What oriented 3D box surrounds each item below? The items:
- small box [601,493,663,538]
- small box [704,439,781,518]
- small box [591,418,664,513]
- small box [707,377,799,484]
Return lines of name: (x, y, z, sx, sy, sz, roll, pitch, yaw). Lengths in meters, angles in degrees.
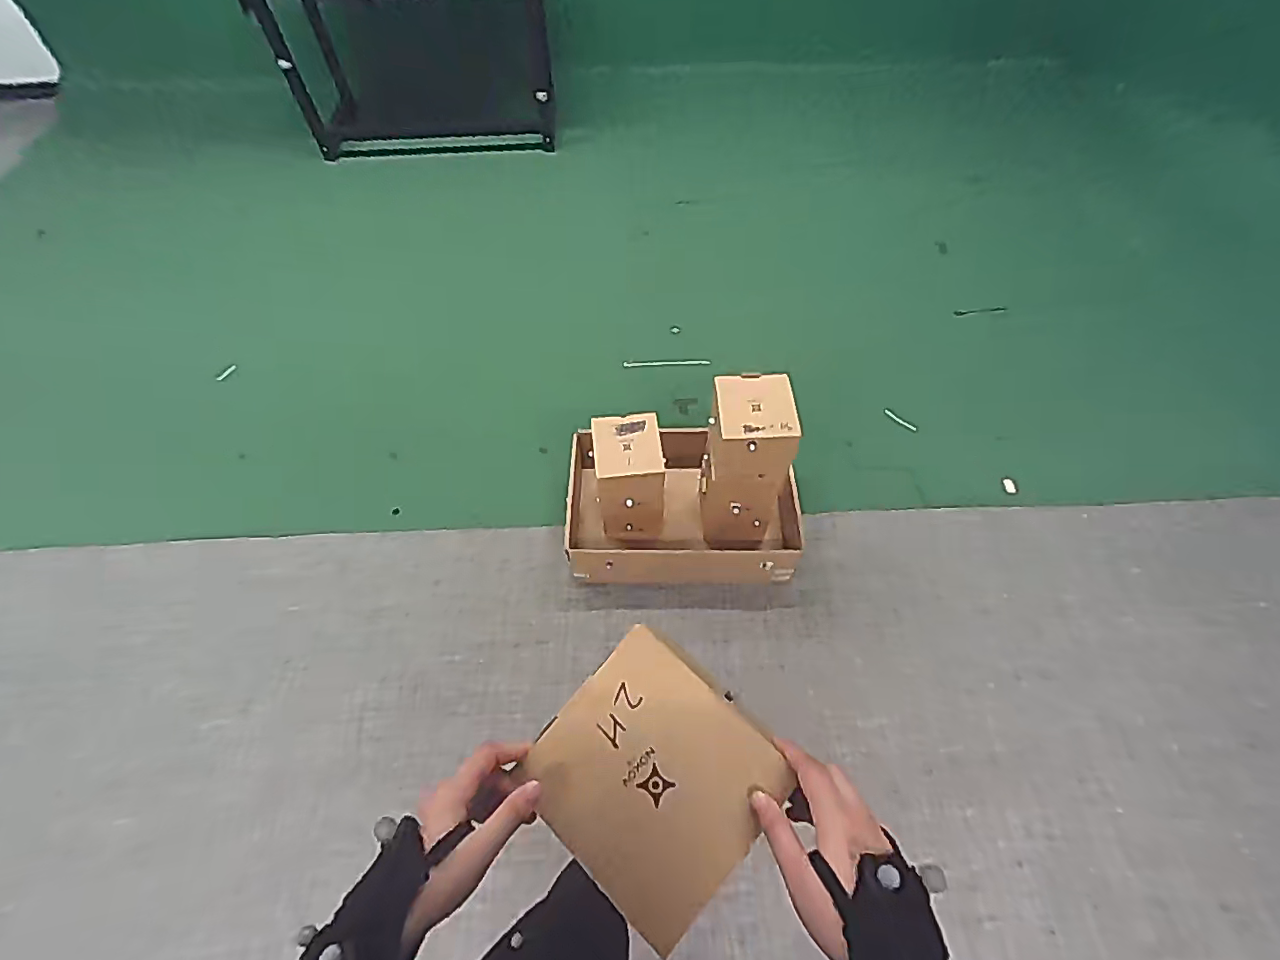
small box: (-0.029, 0.044, 1.513, 0.168, 0.176, 0.179, -4, 58, -3)
small box: (0.249, -0.022, 1.357, 0.168, 0.176, 0.179, 0, 59, 2)
small box: (-0.036, -0.035, 1.368, 0.168, 0.176, 0.179, -6, 59, -4)
small box: (0.245, -0.110, 1.218, 0.168, 0.176, 0.179, -2, 56, 1)
